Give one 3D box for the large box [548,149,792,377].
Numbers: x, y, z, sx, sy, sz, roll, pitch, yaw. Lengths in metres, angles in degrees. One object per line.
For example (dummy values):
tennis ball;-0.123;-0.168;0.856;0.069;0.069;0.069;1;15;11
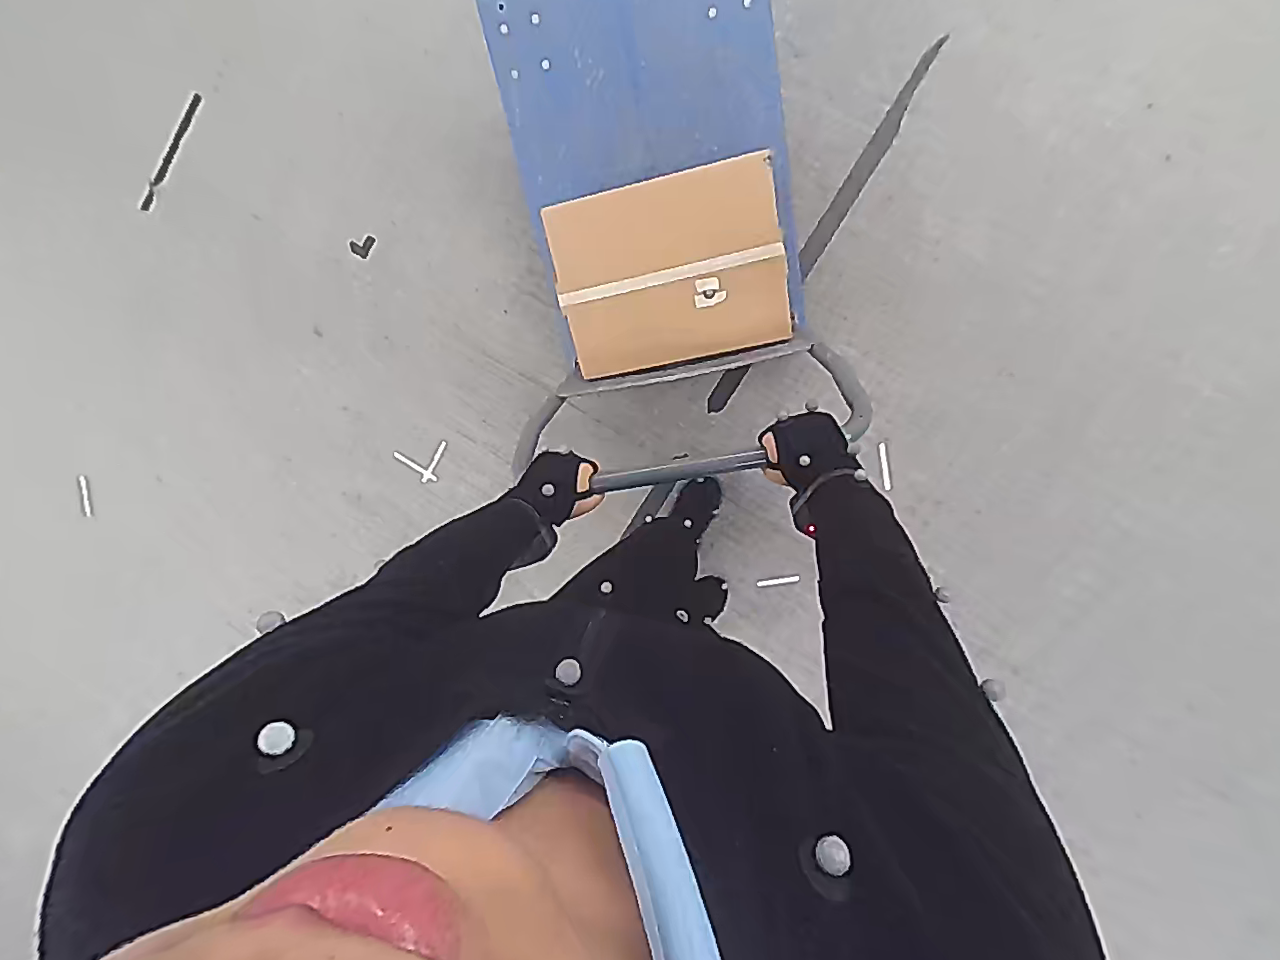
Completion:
large box;0.069;-0.430;1.128;0.408;0.320;0.320;-11;109;9
